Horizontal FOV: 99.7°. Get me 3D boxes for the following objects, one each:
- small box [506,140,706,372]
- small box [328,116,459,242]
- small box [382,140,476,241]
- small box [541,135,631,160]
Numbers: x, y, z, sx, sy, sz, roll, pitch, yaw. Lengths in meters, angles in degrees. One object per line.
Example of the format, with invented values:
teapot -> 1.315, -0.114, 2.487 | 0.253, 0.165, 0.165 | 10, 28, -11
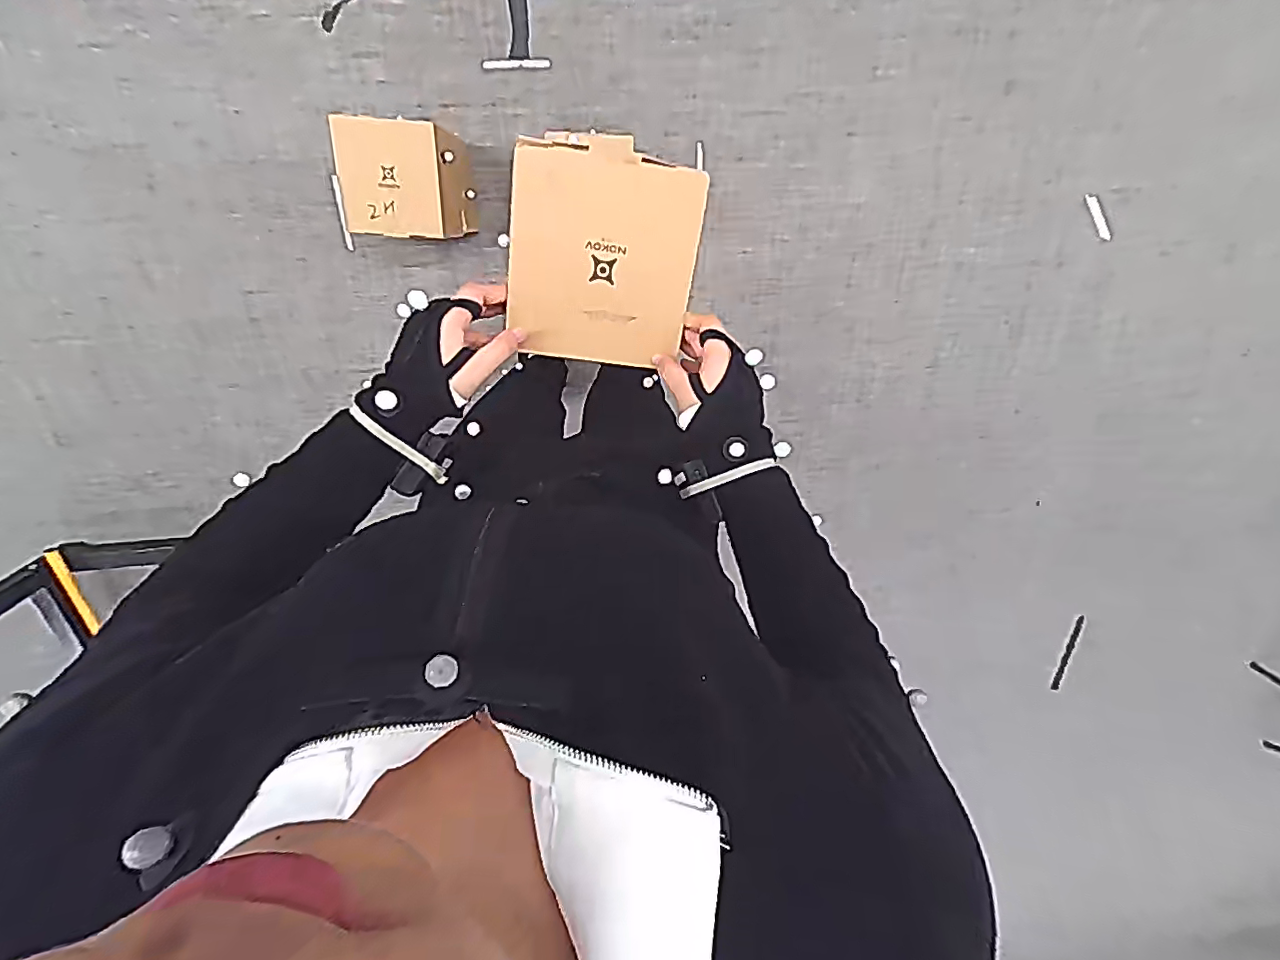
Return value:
small box -> -0.045, -0.226, 0.555 | 0.168, 0.176, 0.179 | 4, 117, -10
small box -> -0.431, -0.532, 0.974 | 0.168, 0.176, 0.179 | 1, 116, -6
small box -> -0.447, -0.600, 1.124 | 0.168, 0.176, 0.179 | -4, 117, -4
small box -> -0.115, -0.621, 1.151 | 0.179, 0.176, 0.168 | -1, 116, -7
